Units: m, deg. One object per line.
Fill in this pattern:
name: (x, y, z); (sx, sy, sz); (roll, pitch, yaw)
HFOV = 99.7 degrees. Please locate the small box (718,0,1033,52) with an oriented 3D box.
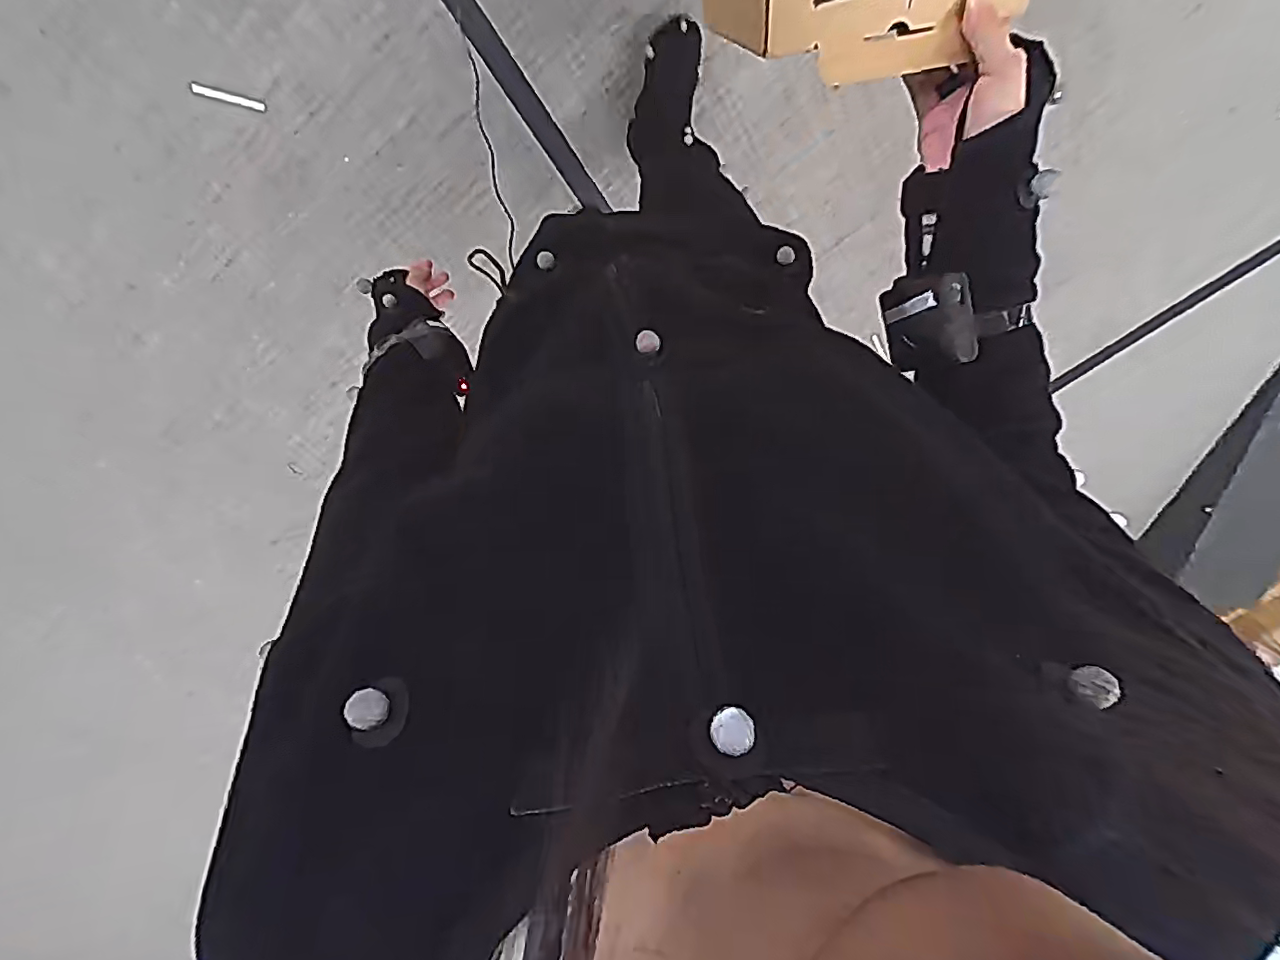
small box: (0.138, -0.388, 0.322); (0.168, 0.176, 0.179); (-11, 135, -1)
